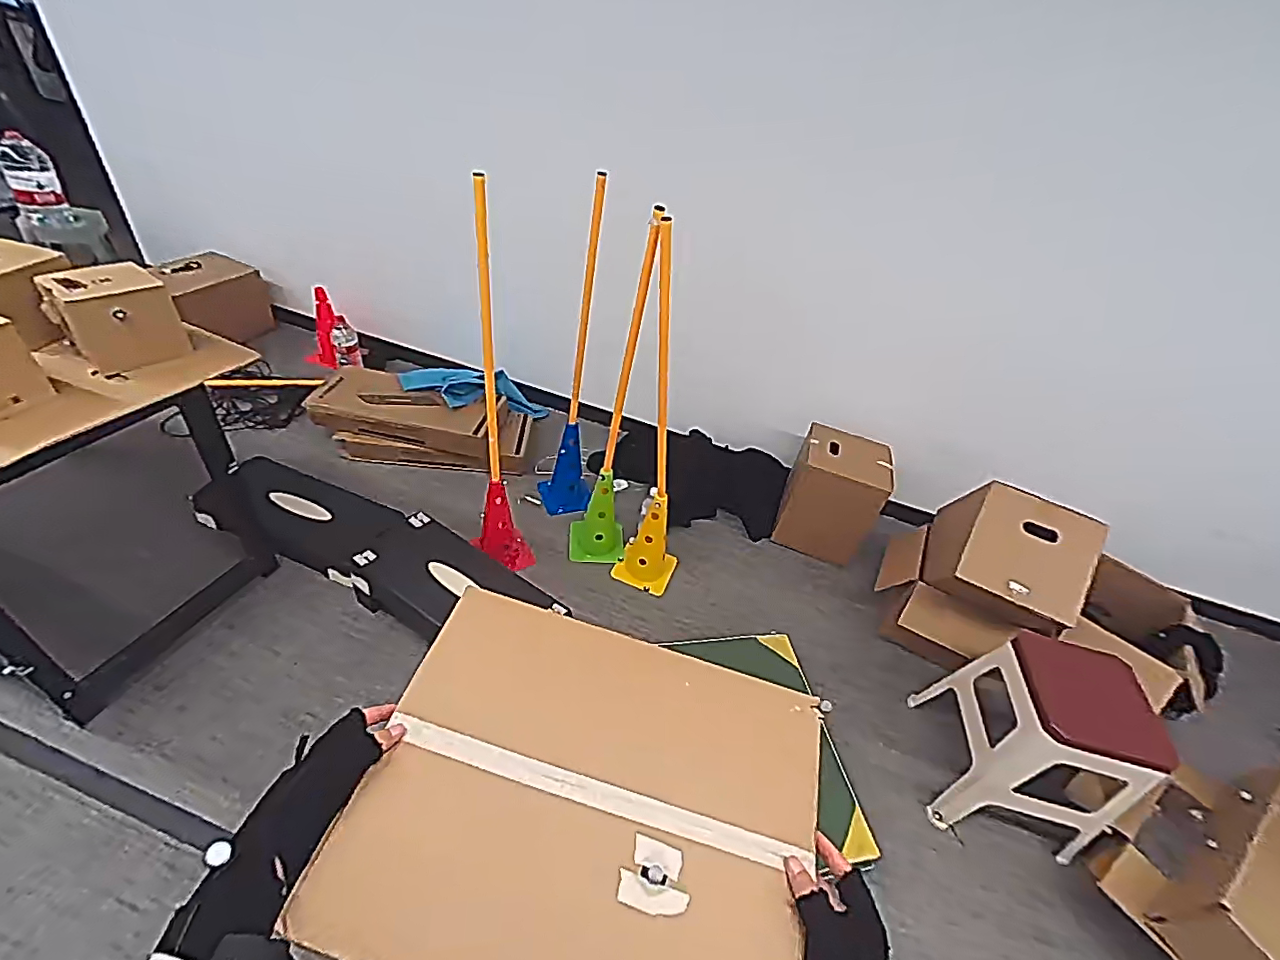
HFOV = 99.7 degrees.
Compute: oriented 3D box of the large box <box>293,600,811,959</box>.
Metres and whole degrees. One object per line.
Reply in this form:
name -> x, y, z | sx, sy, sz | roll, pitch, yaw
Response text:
large box -> -0.065, 0.393, 0.606 | 0.408, 0.320, 0.320 | 18, 47, 3
